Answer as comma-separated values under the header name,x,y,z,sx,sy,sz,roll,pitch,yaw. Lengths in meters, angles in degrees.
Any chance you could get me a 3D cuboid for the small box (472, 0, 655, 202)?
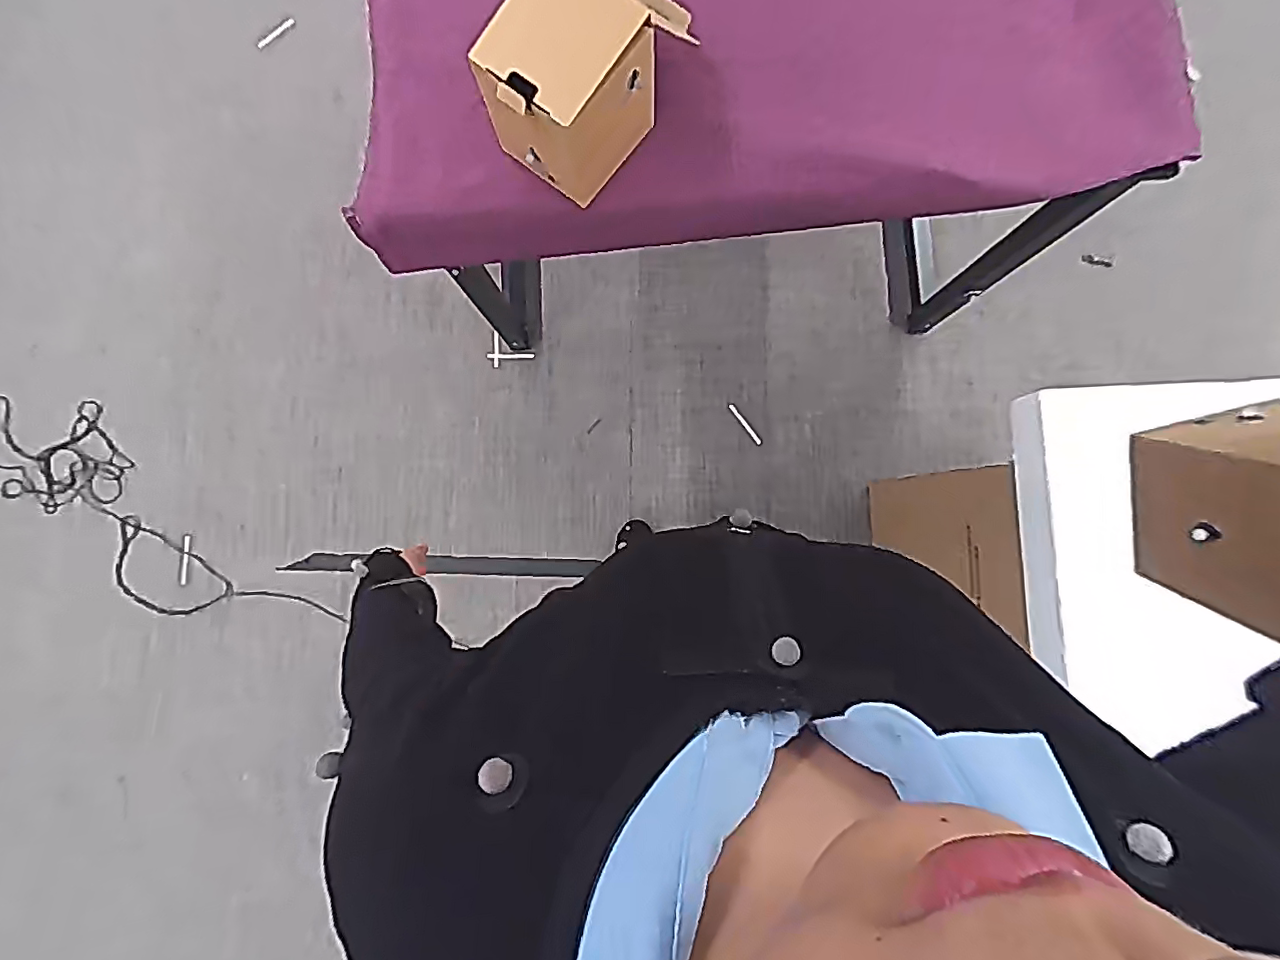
name,x,y,z,sx,sy,sz,roll,pitch,yaw
small box,-0.096,-0.541,0.754,0.168,0.176,0.179,38,87,5
